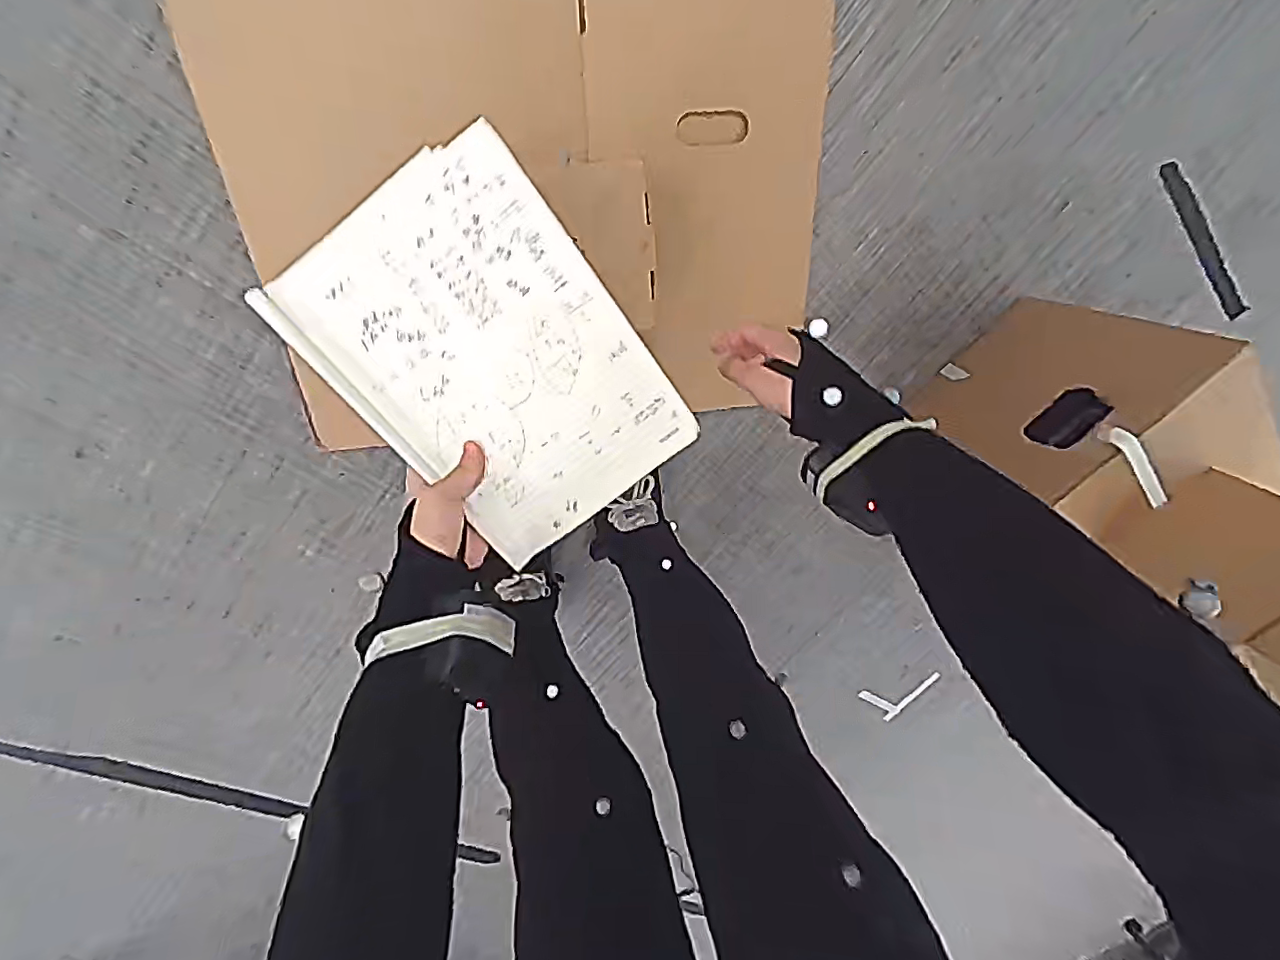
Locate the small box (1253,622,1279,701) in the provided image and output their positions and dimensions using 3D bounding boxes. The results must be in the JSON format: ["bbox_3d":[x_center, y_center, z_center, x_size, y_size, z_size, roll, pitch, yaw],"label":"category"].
[{"bbox_3d":[0.746,0.195,0.497,0.179,0.176,0.168,37,104,-26],"label":"small box"}]

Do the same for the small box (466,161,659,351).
[{"bbox_3d":[-0.087,-0.257,0.603,0.179,0.176,0.168,-10,120,-9],"label":"small box"}]
